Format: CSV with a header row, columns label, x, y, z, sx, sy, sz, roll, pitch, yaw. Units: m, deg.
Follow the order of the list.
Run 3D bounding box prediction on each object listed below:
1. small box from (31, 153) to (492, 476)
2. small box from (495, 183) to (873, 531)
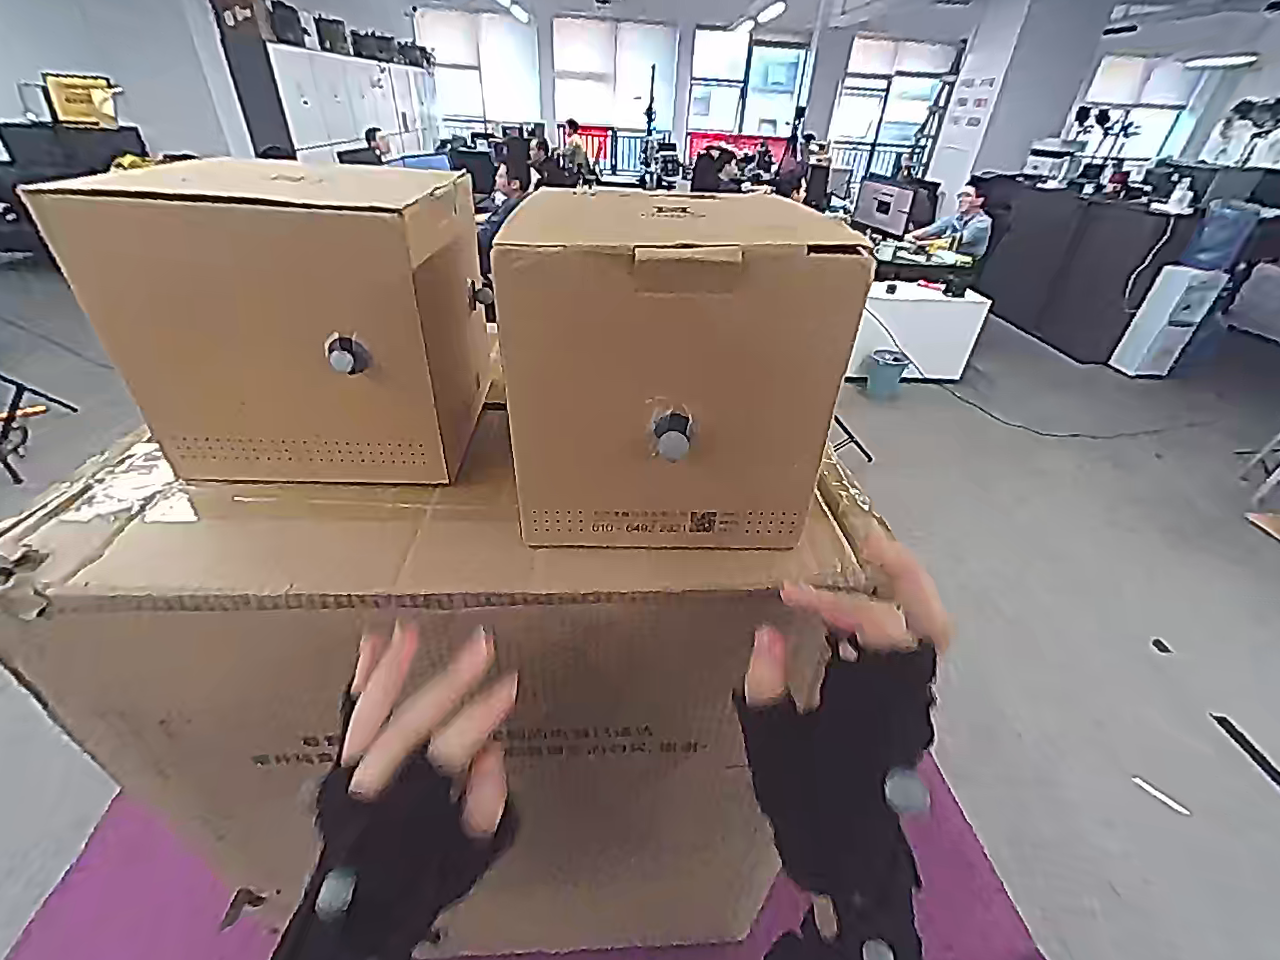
label,x,y,z,sx,sy,sz,roll,pitch,yaw
small box,-0.205,-0.113,0.366,0.179,0.176,0.168,0,34,-4
small box,0.017,-0.081,0.341,0.168,0.176,0.179,0,35,-2
